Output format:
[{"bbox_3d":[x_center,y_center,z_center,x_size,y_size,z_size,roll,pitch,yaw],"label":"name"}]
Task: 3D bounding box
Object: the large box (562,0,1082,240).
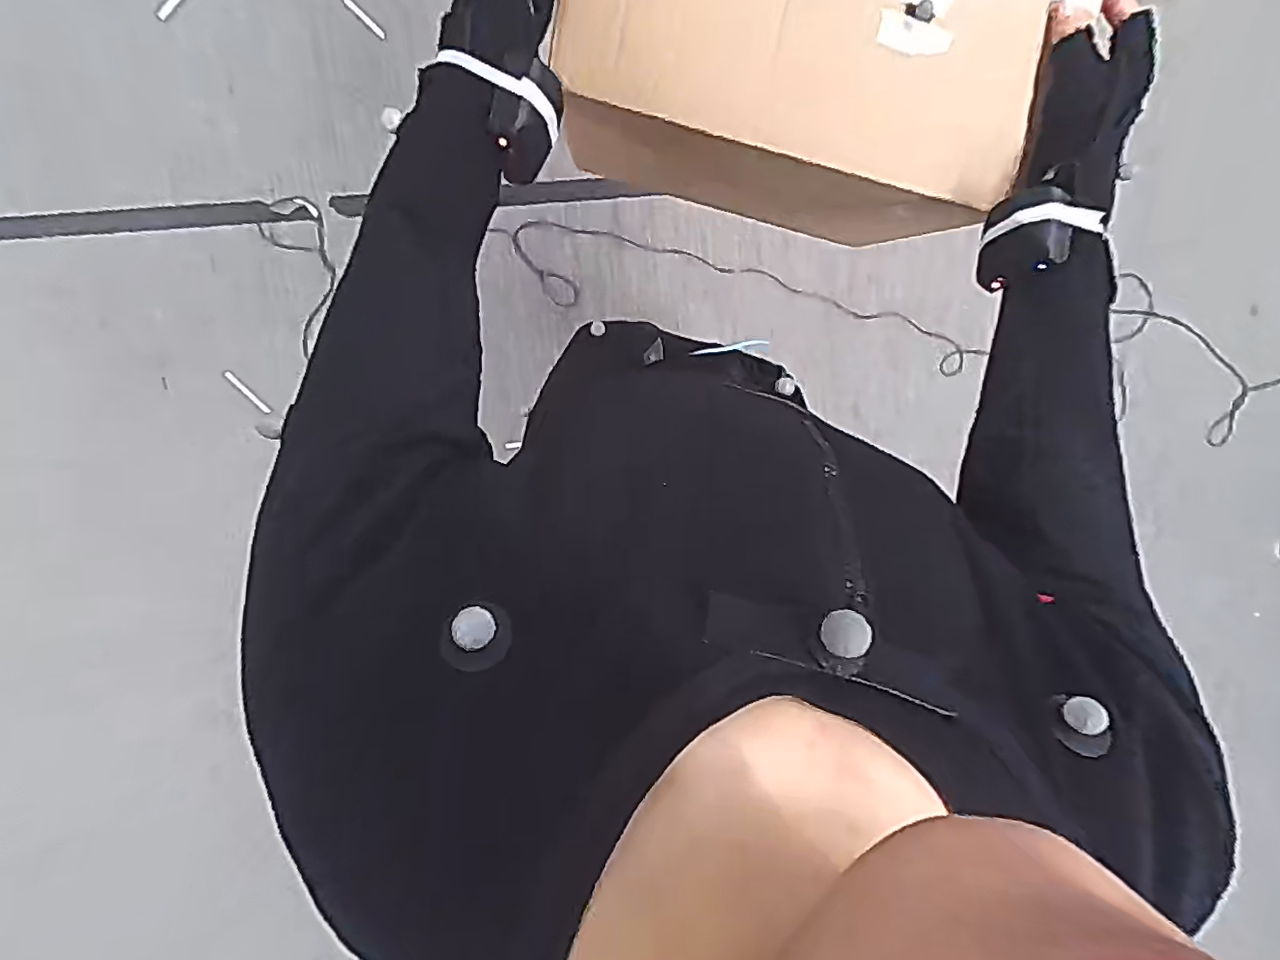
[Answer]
[{"bbox_3d":[0.151,-0.466,0.554,0.408,0.320,0.320,12,109,-7],"label":"large box"}]
